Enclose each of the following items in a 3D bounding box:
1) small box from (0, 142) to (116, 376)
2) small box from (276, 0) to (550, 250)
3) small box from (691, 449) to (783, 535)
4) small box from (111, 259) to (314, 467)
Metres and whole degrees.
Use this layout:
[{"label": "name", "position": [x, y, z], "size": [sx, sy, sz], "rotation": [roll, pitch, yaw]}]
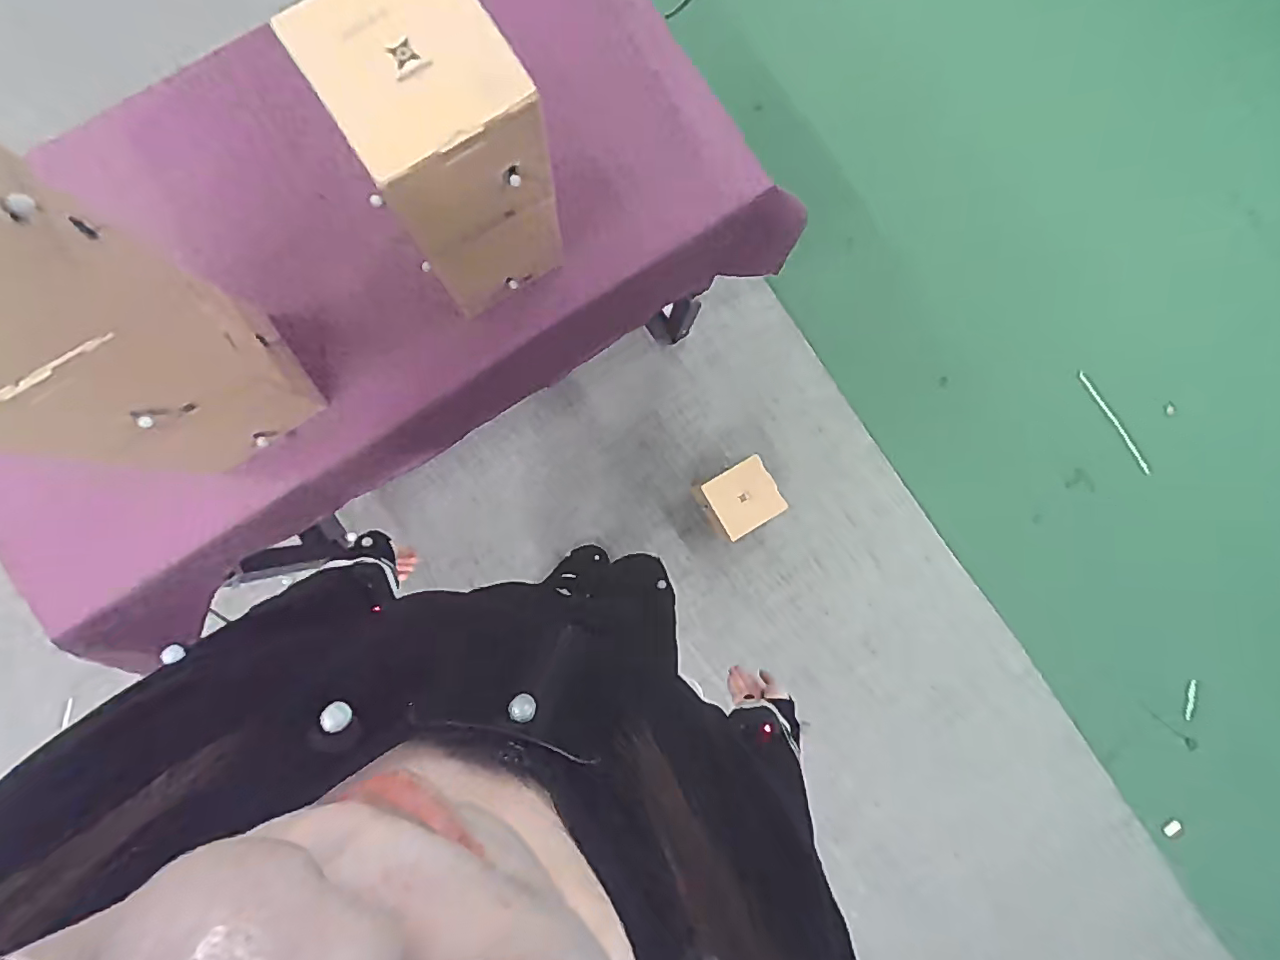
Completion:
[{"label": "small box", "position": [-0.525, -0.158, 0.351], "size": [0.179, 0.176, 0.168], "rotation": [-32, 90, -6]}, {"label": "small box", "position": [-0.207, -0.366, 0.553], "size": [0.168, 0.176, 0.179], "rotation": [-34, 90, -6]}, {"label": "small box", "position": [0.252, 0.035, 1.467], "size": [0.179, 0.176, 0.168], "rotation": [-31, 90, -6]}, {"label": "small box", "position": [-0.552, -0.132, 0.679], "size": [0.179, 0.176, 0.168], "rotation": [-35, 90, -6]}]
